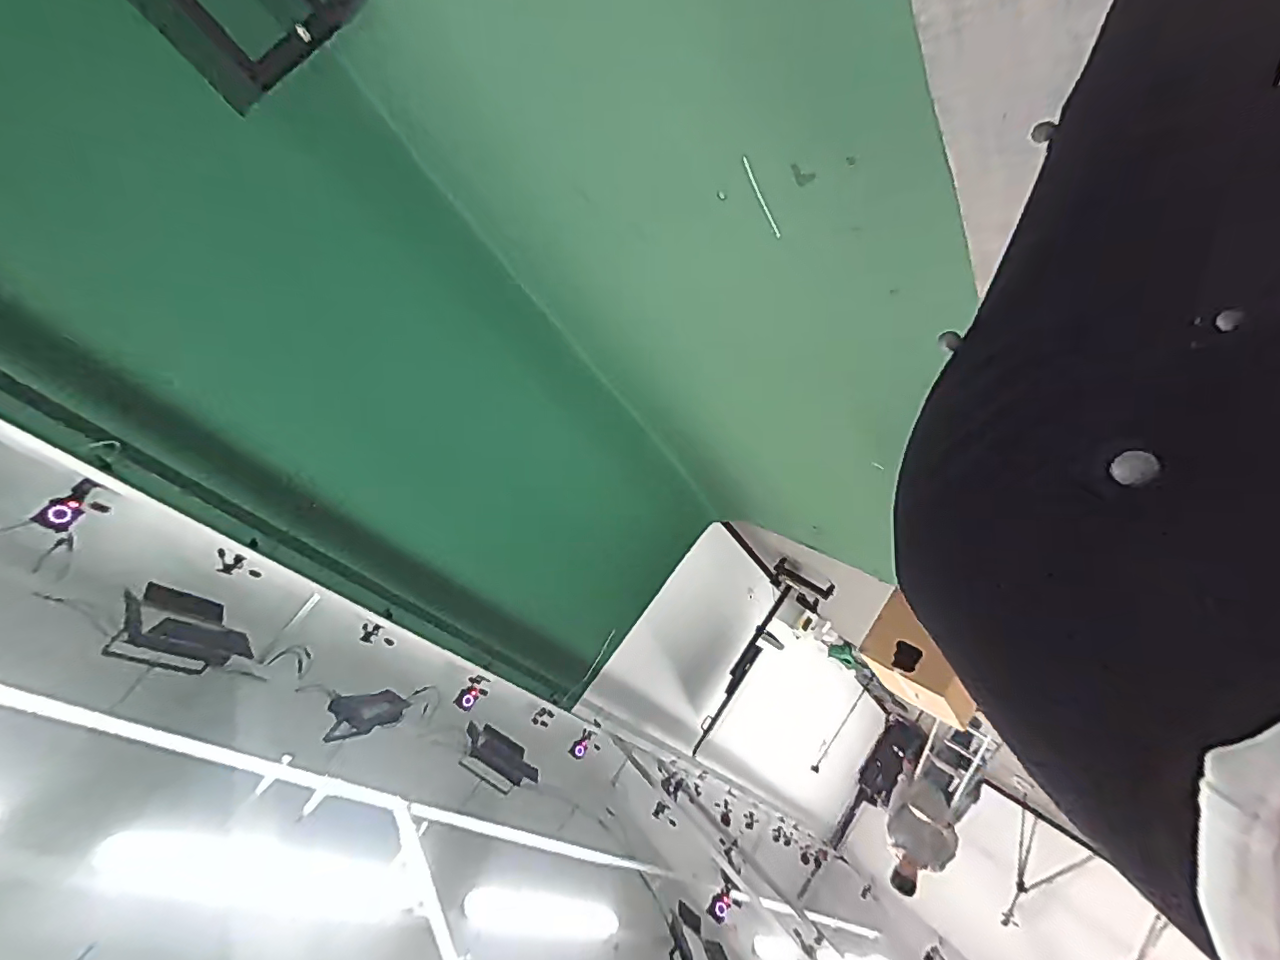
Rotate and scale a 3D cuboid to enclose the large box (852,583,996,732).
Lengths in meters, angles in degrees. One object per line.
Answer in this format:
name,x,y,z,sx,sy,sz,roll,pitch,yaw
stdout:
large box,1.053,0.648,1.989,0.320,0.320,0.408,21,159,49
